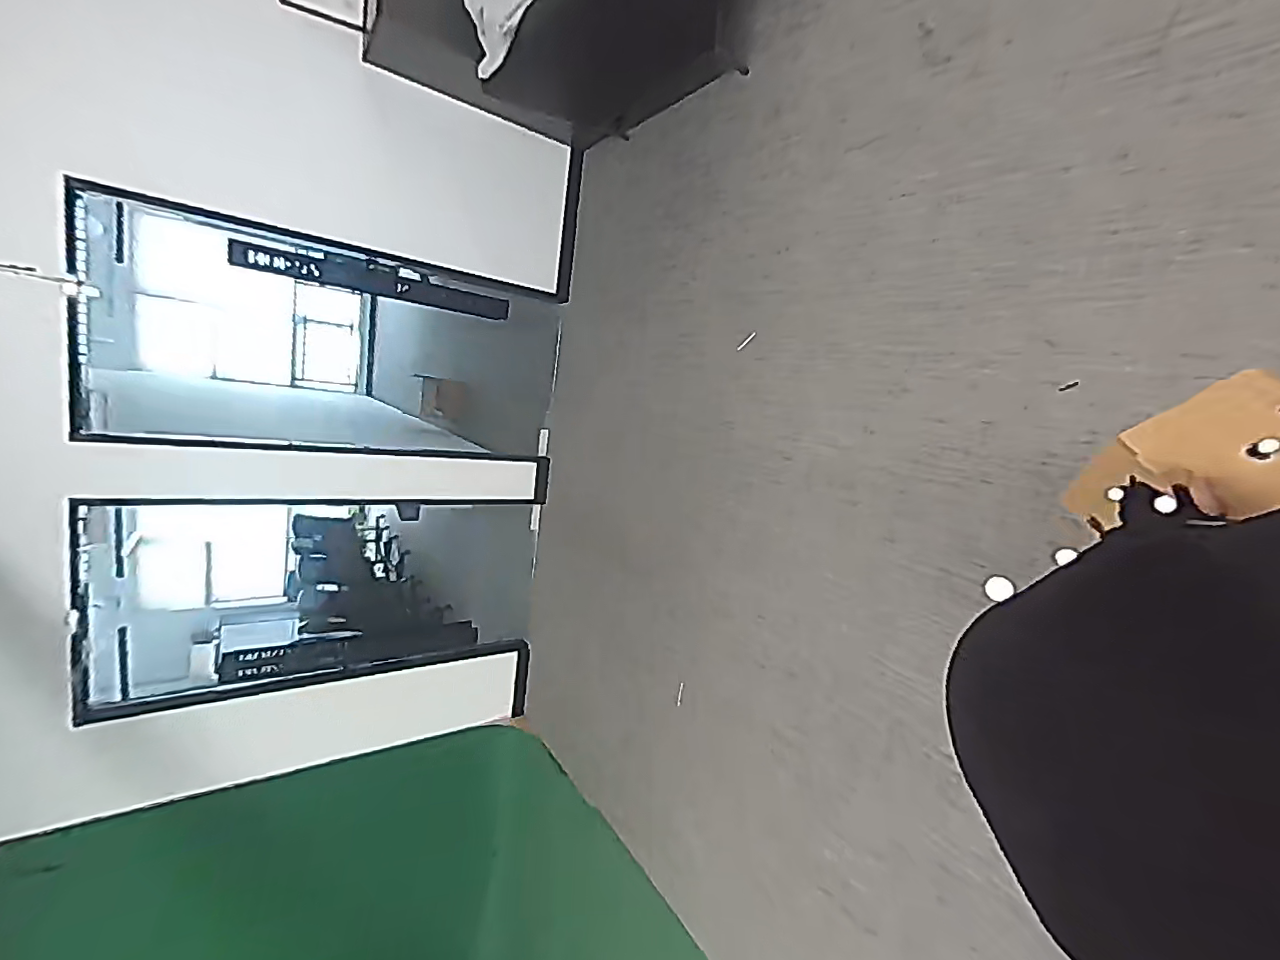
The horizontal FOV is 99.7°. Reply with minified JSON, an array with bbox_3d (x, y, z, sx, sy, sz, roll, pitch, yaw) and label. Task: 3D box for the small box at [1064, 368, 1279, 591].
[{"bbox_3d":[0.671,0.002,0.636,0.176,0.179,0.168,-27,59,2],"label":"small box"}]
